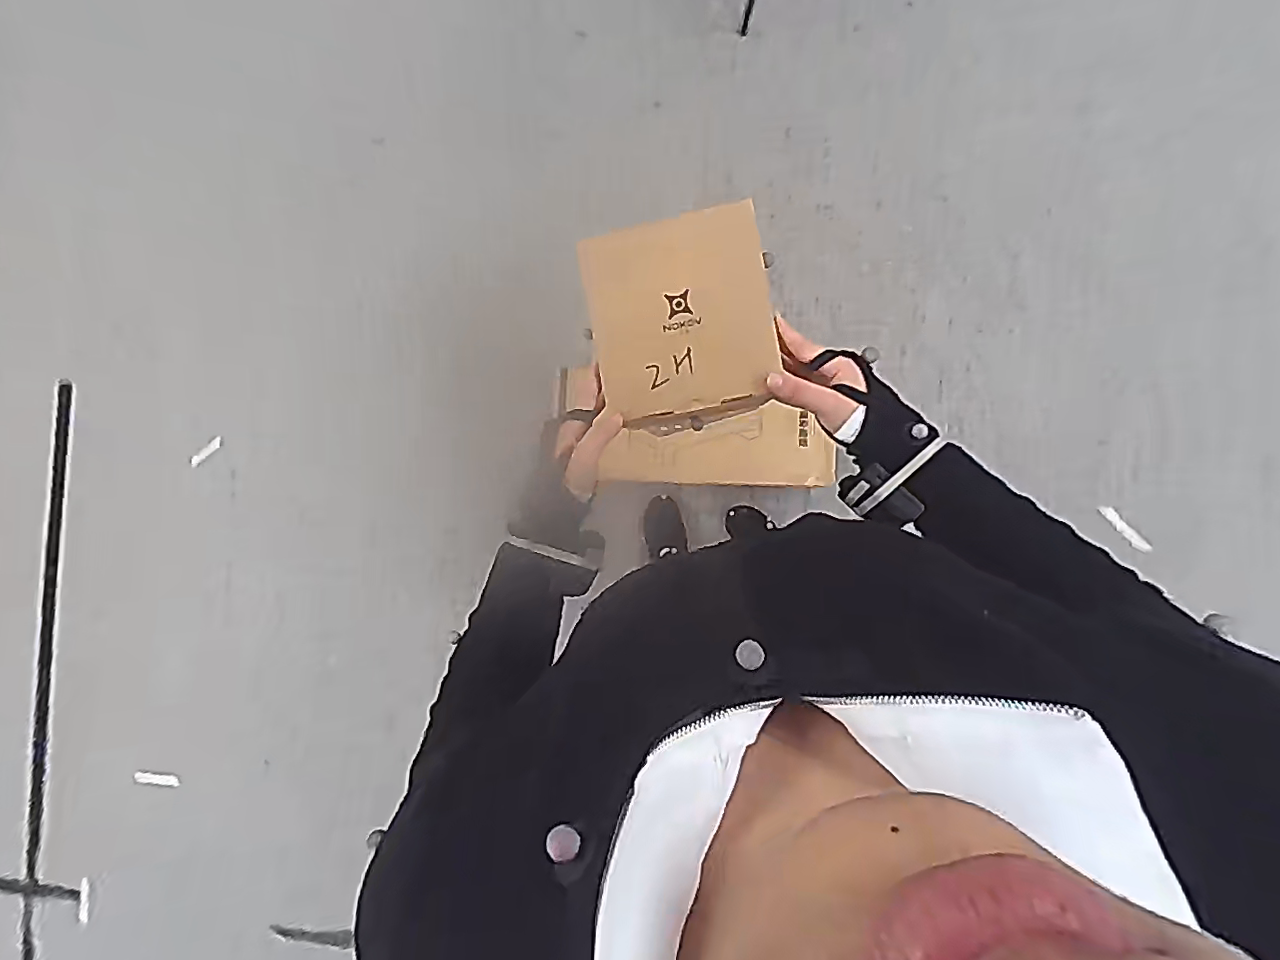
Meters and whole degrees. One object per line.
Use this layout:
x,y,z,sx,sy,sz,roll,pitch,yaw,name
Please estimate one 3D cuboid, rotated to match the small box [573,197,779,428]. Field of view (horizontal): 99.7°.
0.038,-0.158,0.571,0.168,0.176,0.179,-11,92,6,small box
